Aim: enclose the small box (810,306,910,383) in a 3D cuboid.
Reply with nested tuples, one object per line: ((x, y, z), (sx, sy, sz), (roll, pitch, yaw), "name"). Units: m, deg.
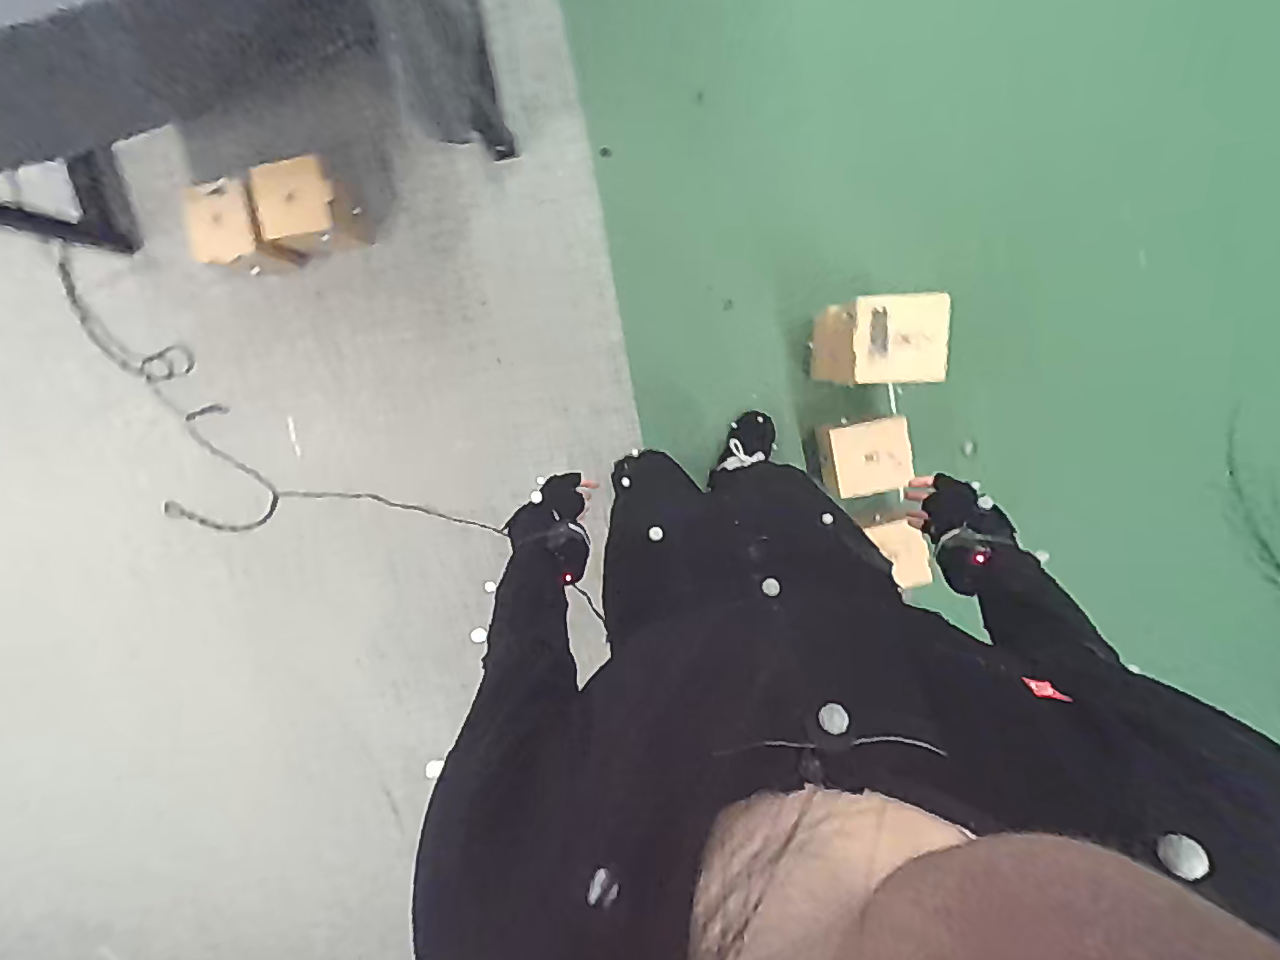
((0.515, -0.318, 1.287), (0.179, 0.176, 0.168), (2, 99, 6), "small box")

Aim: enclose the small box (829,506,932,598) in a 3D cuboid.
((0.599, 0.175, 1.364), (0.179, 0.176, 0.168), (-14, 98, 7), "small box")

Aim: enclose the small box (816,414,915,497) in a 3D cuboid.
((0.543, -0.064, 1.327), (0.179, 0.176, 0.168), (-11, 99, 6), "small box")
